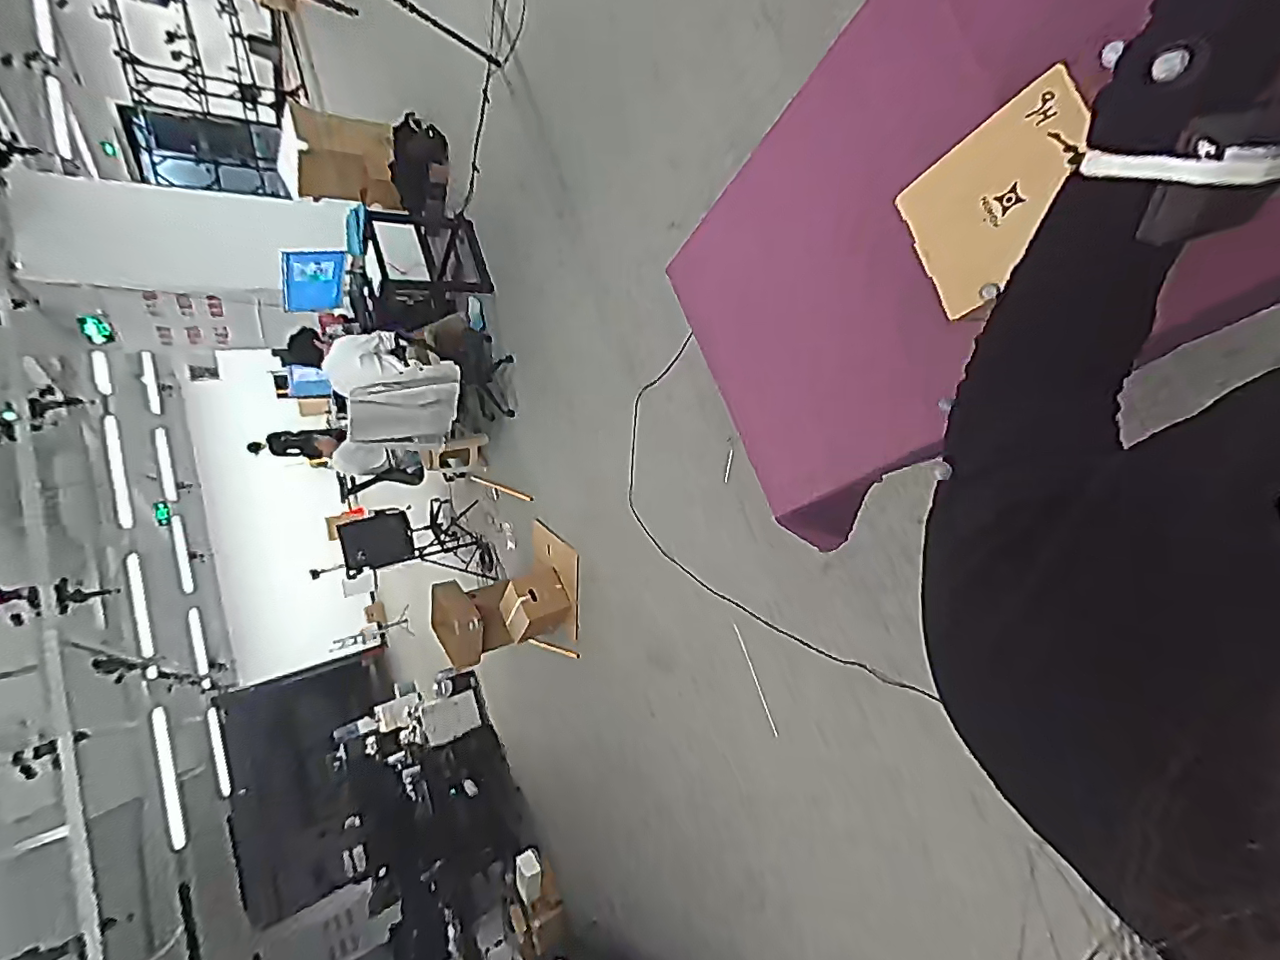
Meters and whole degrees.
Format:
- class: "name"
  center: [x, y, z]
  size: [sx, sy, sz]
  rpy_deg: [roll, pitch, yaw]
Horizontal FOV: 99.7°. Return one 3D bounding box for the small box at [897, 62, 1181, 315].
- class: "small box"
  center: [0.433, -0.298, 0.598]
  size: [0.179, 0.176, 0.168]
  rpy_deg: [-32, 73, 54]
